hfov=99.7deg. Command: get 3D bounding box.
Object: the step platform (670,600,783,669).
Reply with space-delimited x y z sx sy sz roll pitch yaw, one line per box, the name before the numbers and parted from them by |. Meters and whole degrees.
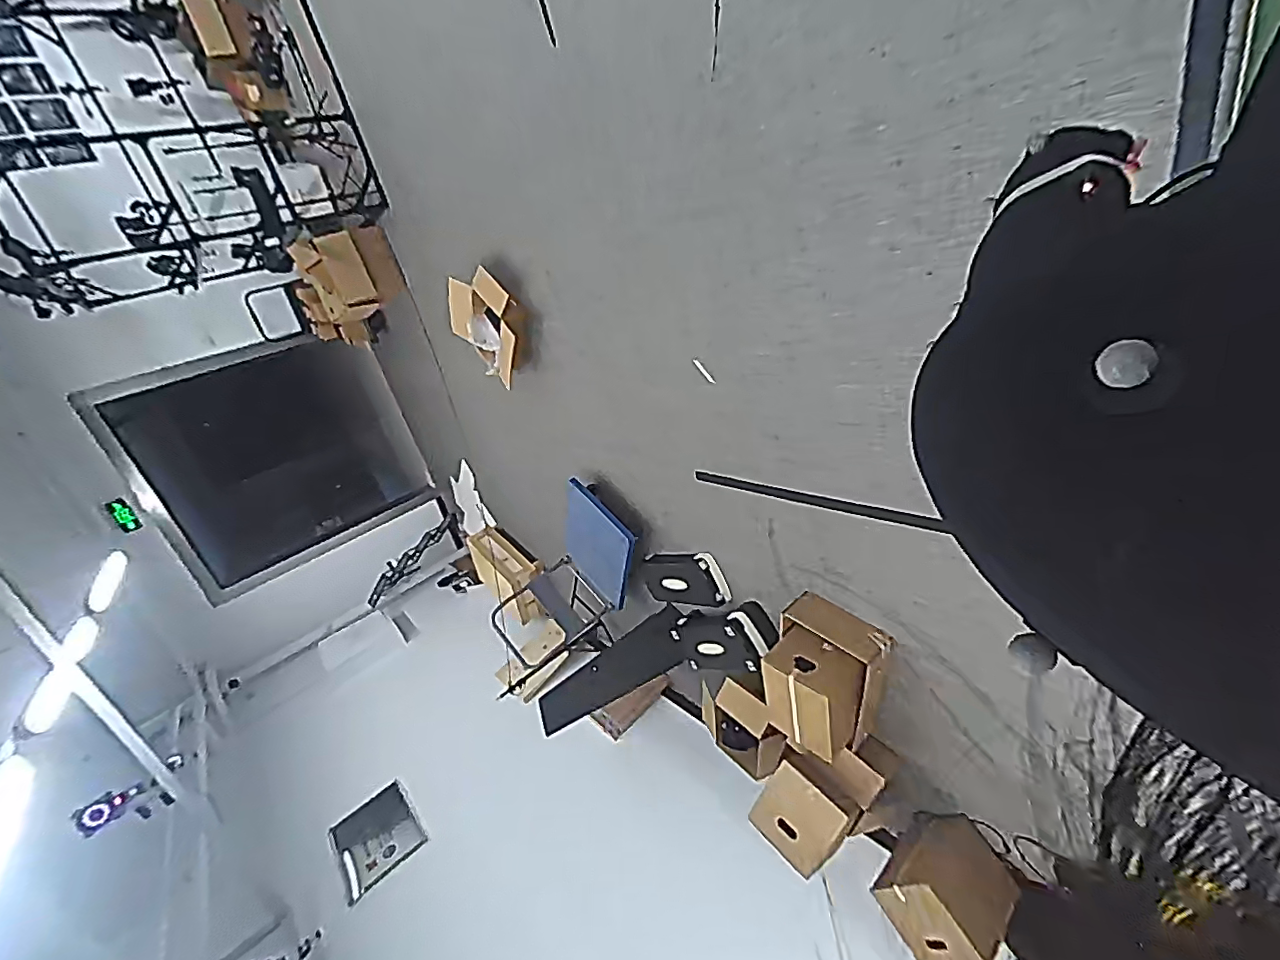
step platform | 0.435 0.842 2.894 0.286 0.204 0.684 58 148 1
